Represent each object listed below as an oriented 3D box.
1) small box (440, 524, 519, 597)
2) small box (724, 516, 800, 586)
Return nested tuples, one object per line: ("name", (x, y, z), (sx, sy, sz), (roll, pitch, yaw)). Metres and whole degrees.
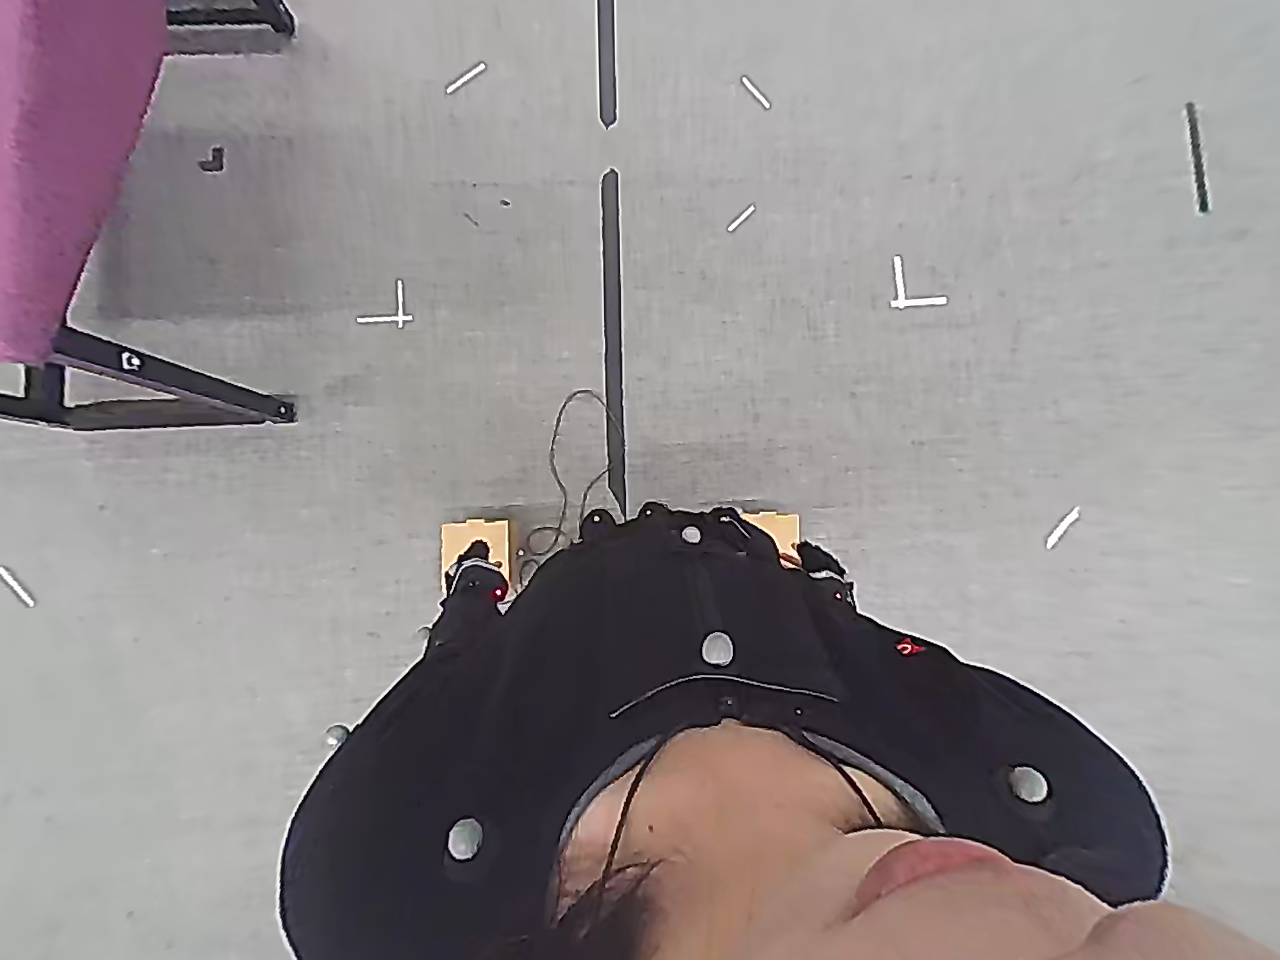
("small box", (-0.412, 0.206, 1.405), (0.168, 0.176, 0.179), (-2, 84, -3))
("small box", (0.321, 0.186, 1.451), (0.168, 0.176, 0.179), (0, 87, -2))
